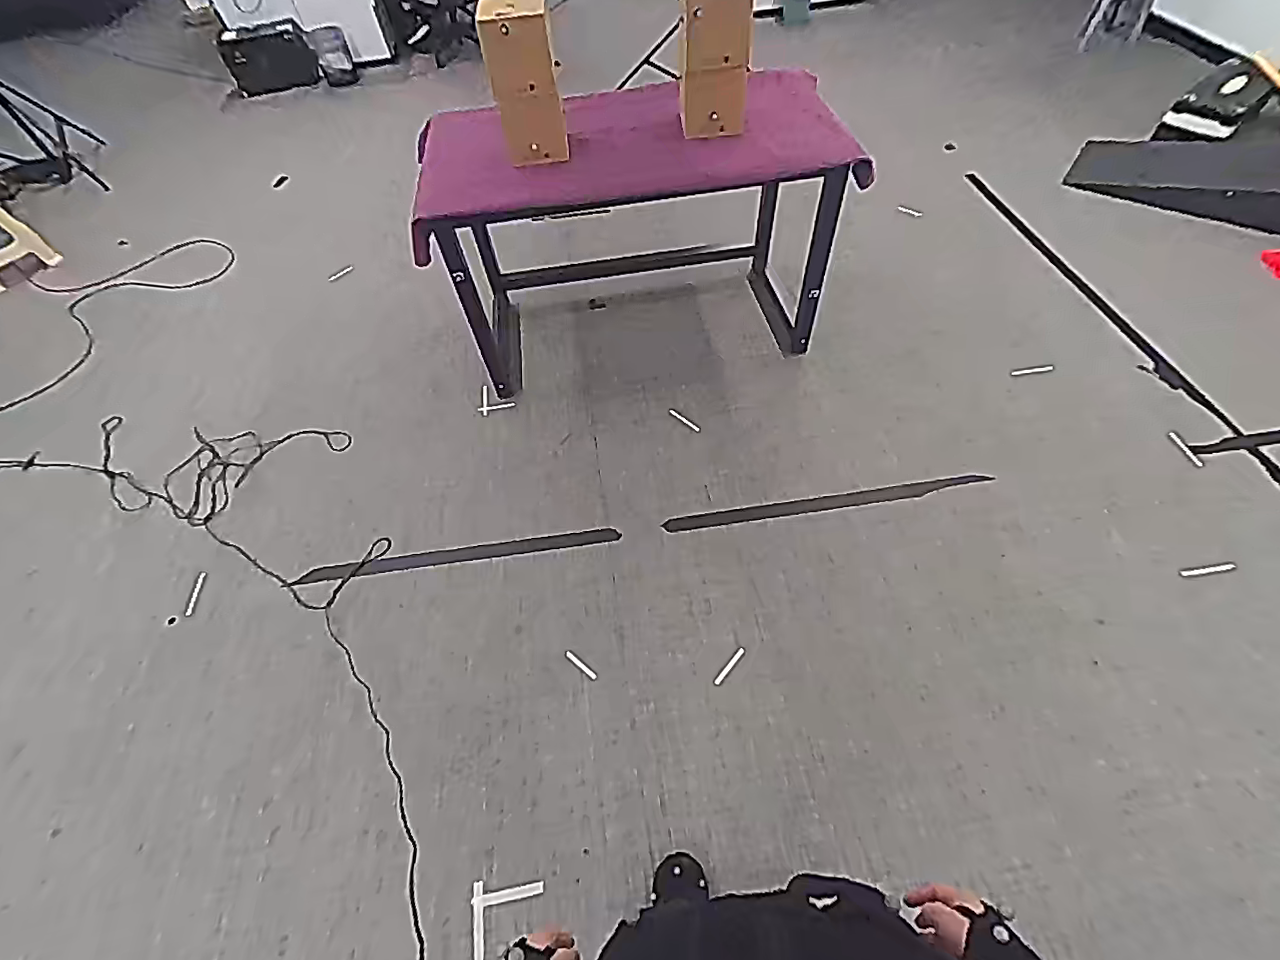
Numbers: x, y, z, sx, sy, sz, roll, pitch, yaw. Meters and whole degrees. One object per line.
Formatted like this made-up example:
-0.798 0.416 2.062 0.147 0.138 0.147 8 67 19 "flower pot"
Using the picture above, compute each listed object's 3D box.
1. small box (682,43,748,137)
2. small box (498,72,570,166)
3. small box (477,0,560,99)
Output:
0.208 -1.105 1.536 0.168 0.176 0.179 -5 55 3 "small box"
-0.290 -1.008 1.510 0.168 0.176 0.179 -7 56 0 "small box"
-0.302 -1.101 1.375 0.168 0.176 0.179 -7 55 0 "small box"
